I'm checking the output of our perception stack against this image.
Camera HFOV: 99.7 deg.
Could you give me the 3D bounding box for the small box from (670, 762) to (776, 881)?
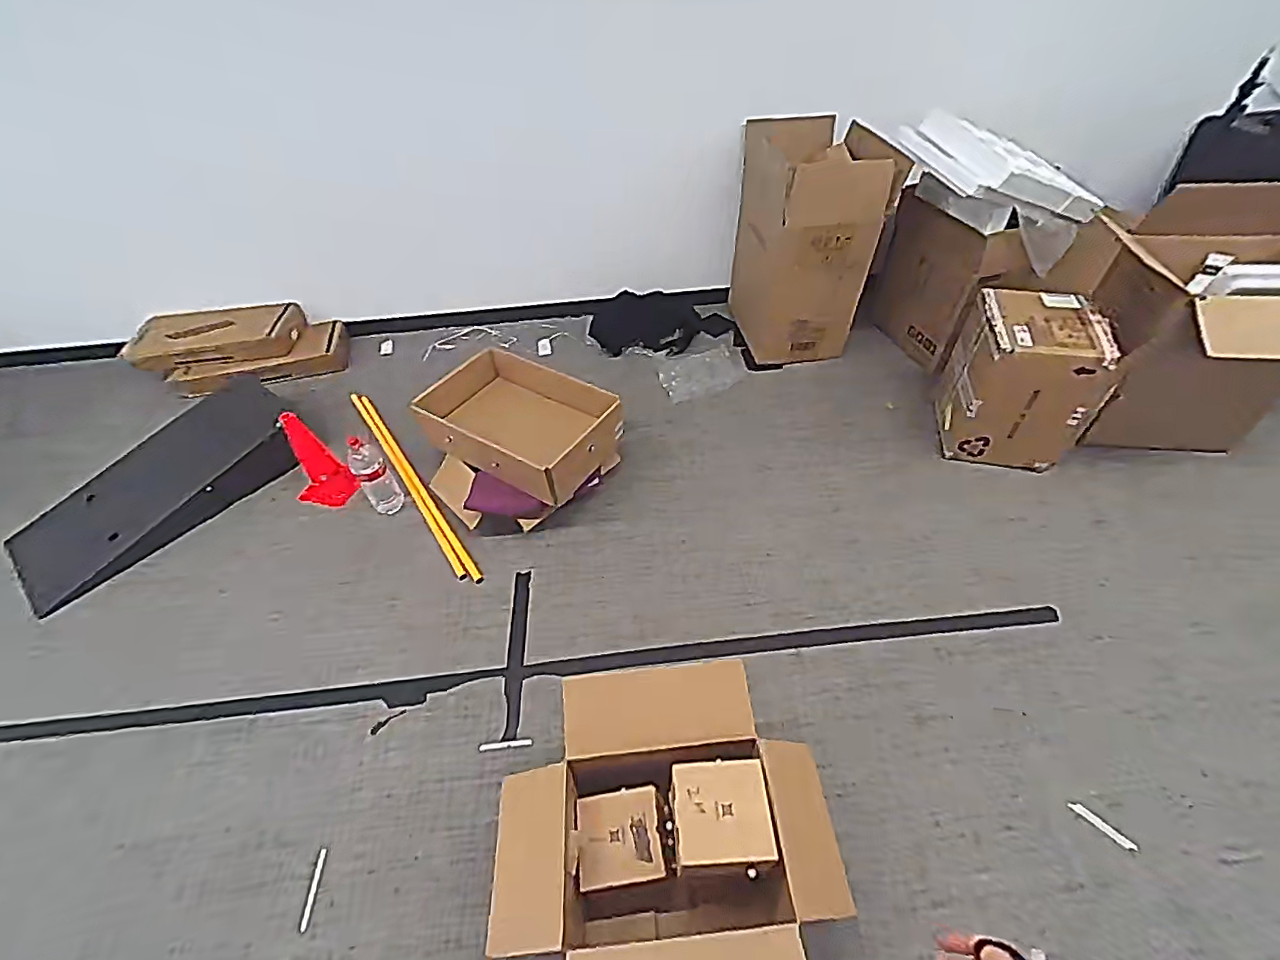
[{"bbox_3d":[0.152,0.668,1.057,0.179,0.176,0.168,-4,46,0],"label":"small box"}]
